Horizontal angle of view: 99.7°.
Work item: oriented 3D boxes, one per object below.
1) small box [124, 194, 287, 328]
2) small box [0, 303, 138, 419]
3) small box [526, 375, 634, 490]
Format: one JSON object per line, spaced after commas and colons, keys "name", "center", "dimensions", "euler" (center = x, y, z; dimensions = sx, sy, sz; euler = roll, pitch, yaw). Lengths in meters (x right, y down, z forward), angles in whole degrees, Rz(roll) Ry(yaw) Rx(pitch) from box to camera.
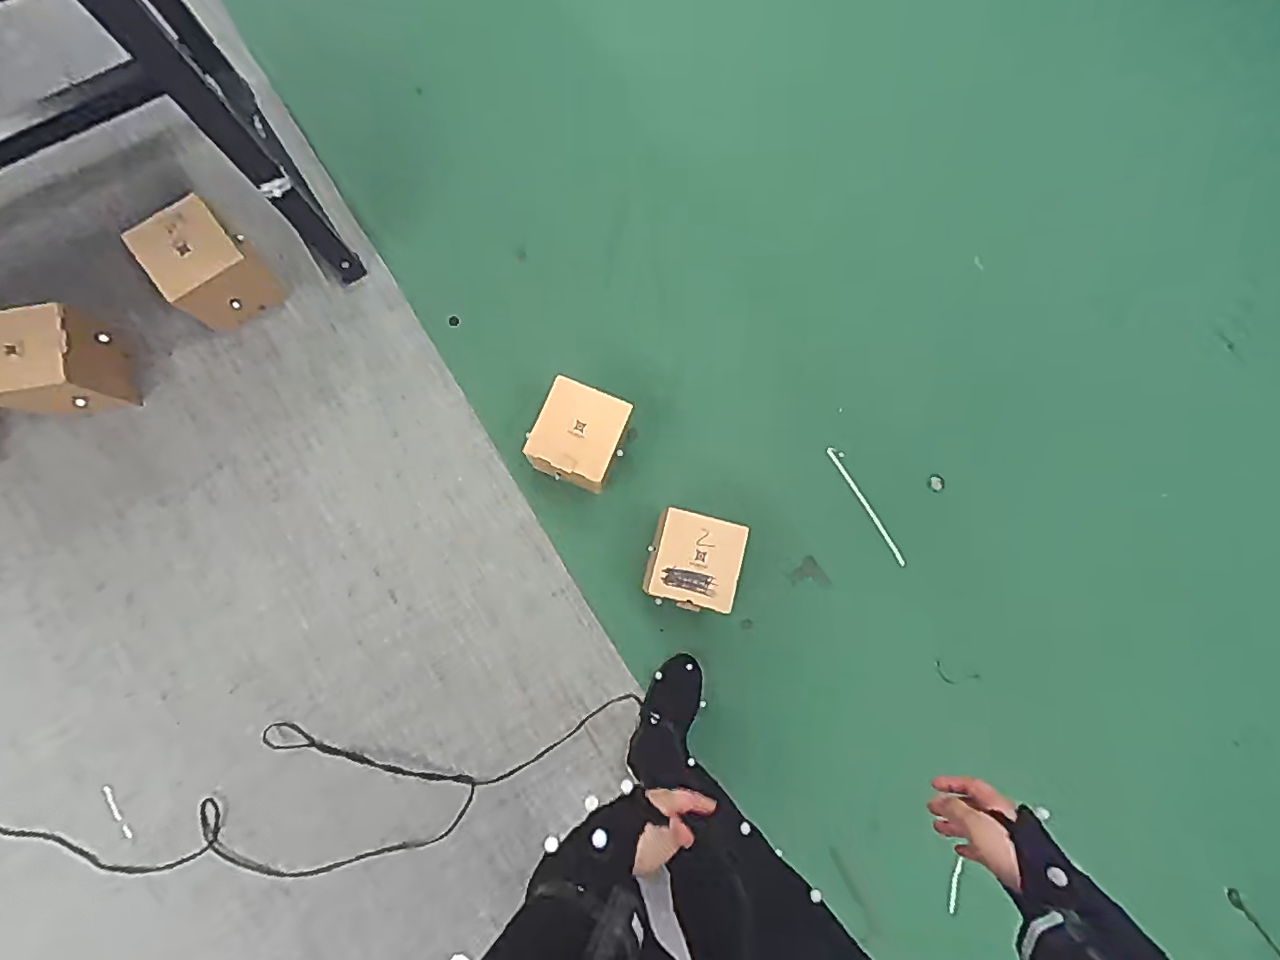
{"name": "small box", "center": [-0.897, -0.446, 1.139], "dimensions": [0.168, 0.176, 0.179], "euler": [-37, 86, -8]}
{"name": "small box", "center": [-1.171, -0.233, 1.095], "dimensions": [0.179, 0.176, 0.168], "euler": [-12, 83, -4]}
{"name": "small box", "center": [-0.124, -0.092, 1.147], "dimensions": [0.168, 0.176, 0.179], "euler": [22, 82, -1]}
